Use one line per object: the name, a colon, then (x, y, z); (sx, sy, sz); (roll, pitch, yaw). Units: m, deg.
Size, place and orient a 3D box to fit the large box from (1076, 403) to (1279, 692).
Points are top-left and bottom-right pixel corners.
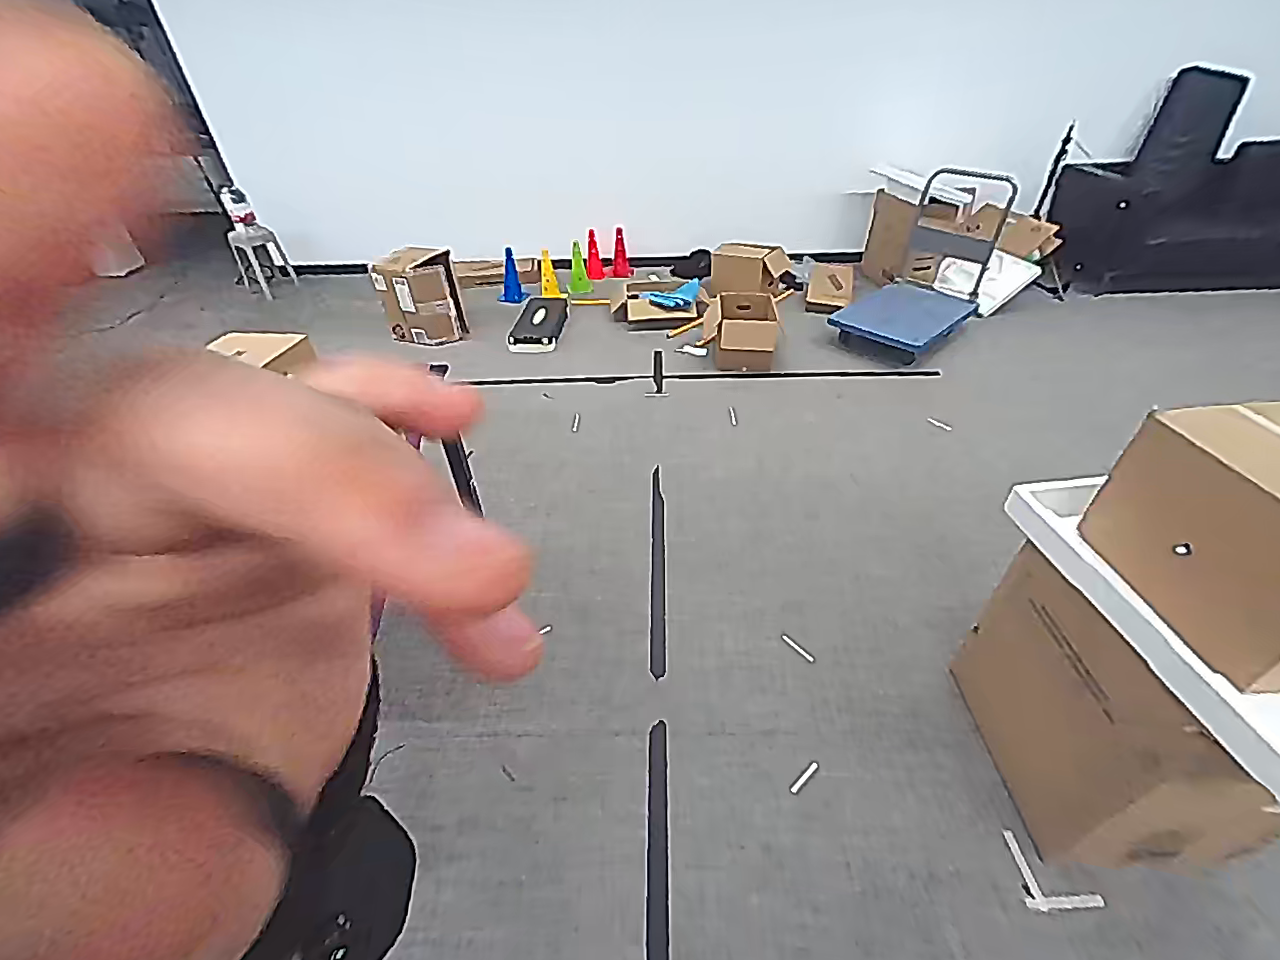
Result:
large box: (1.123, 0.103, 0.961); (0.320, 0.320, 0.408); (-3, 37, -3)
